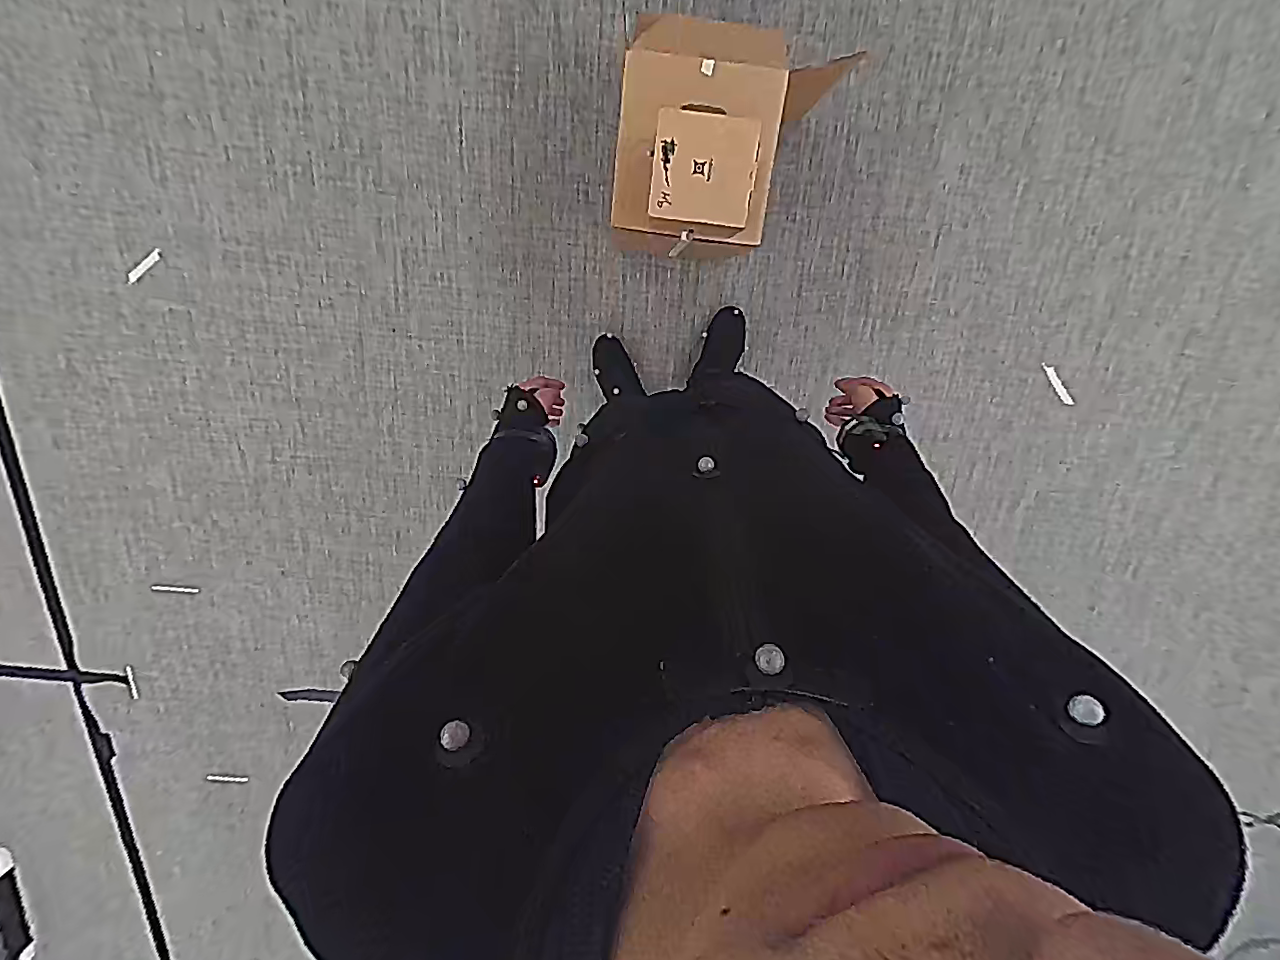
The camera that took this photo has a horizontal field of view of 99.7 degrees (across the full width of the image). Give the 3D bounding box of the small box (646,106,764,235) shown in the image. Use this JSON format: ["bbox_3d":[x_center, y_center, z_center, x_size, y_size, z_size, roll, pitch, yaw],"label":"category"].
[{"bbox_3d":[0.108,-0.549,0.983,0.179,0.176,0.168,6,109,-3],"label":"small box"}]
